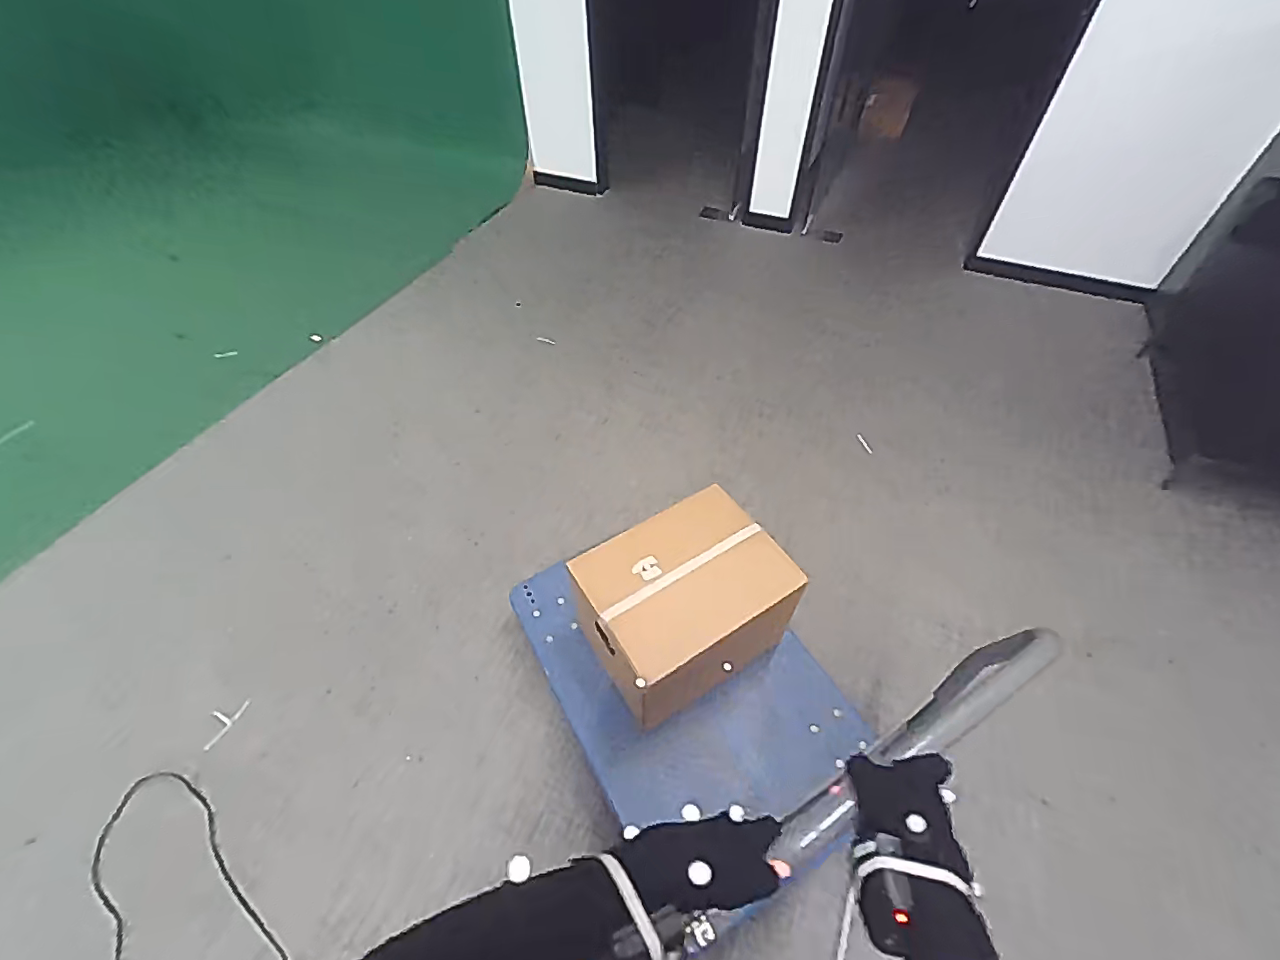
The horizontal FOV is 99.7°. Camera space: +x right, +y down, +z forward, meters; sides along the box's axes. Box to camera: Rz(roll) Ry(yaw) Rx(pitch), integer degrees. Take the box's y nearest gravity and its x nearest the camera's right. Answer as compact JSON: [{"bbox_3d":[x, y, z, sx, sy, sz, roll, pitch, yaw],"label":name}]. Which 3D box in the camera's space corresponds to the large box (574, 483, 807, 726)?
[{"bbox_3d":[0.108,0.283,1.247,0.408,0.320,0.320,-28,55,-20],"label":"large box"}]
